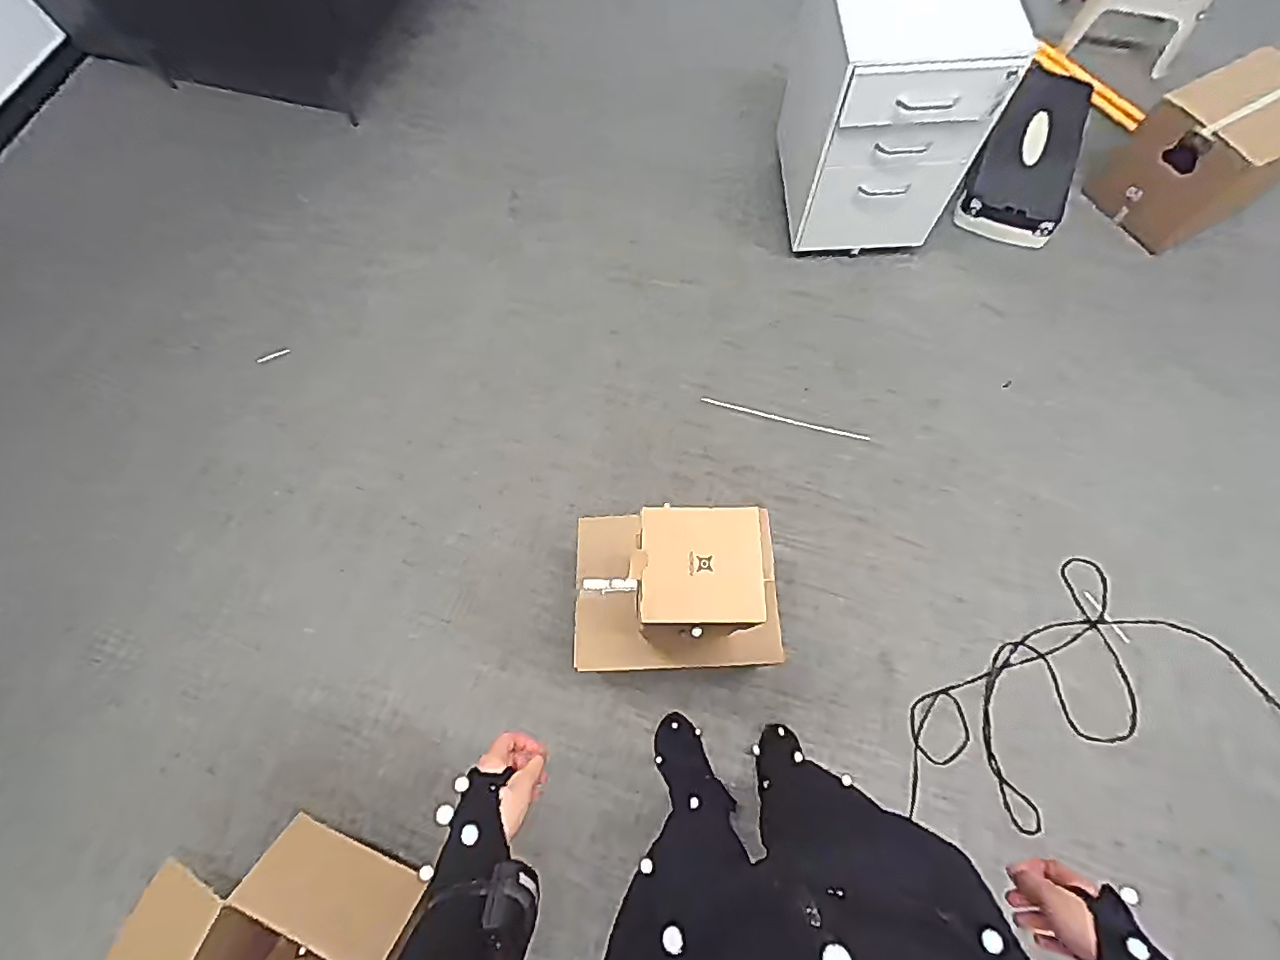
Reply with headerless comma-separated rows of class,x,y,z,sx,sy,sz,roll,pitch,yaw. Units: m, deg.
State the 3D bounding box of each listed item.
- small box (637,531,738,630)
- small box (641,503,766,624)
small box,0.089,0.190,1.009,0.179,0.176,0.168,-2,71,3
small box,0.093,0.136,0.855,0.179,0.176,0.168,-2,71,4
